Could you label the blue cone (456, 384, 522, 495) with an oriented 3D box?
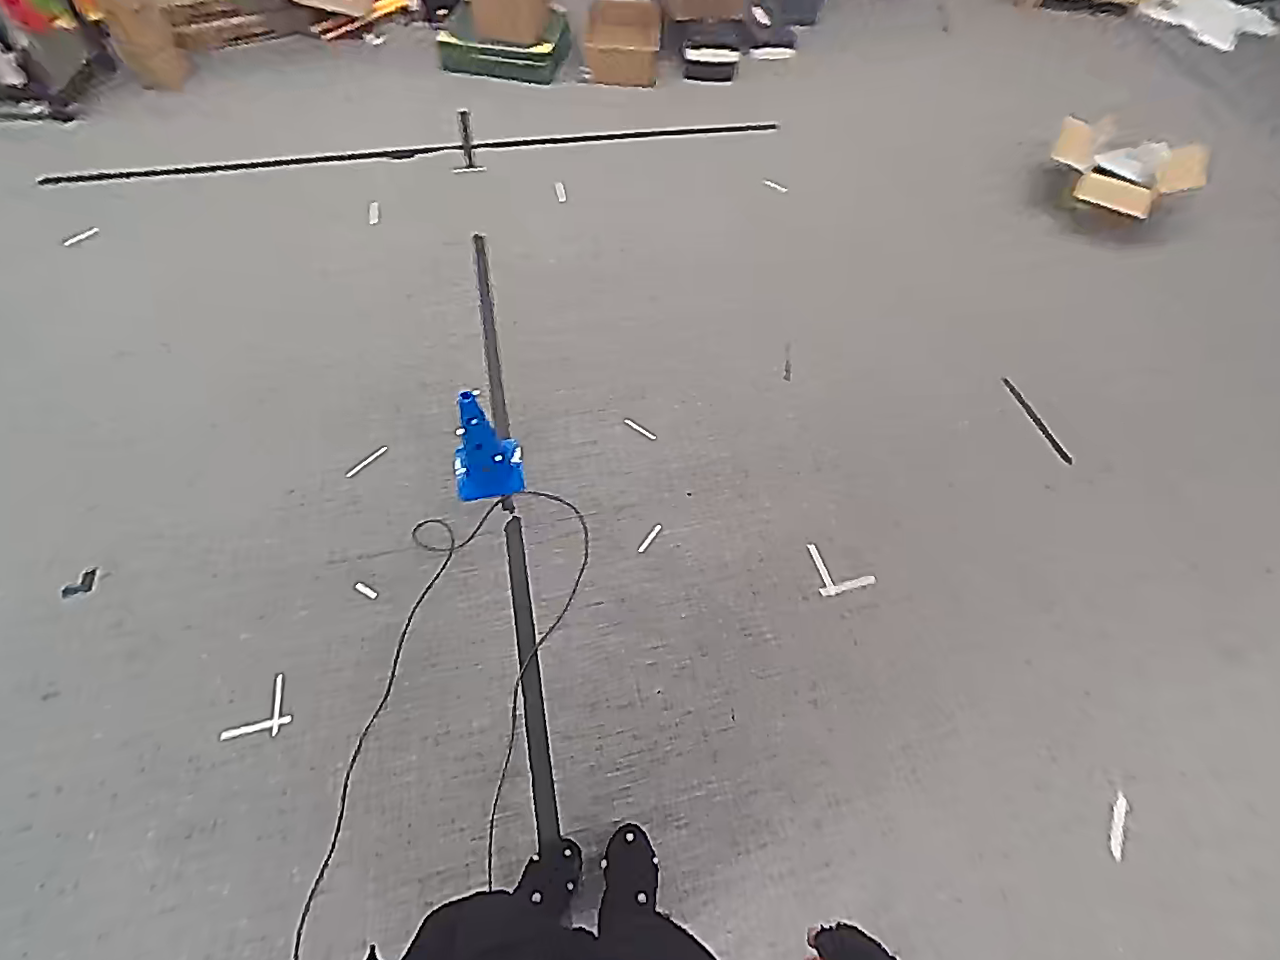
[{"bbox_3d":[-0.452,-0.127,1.511,0.193,0.380,0.192,-11,61,-10],"label":"blue cone"}]
